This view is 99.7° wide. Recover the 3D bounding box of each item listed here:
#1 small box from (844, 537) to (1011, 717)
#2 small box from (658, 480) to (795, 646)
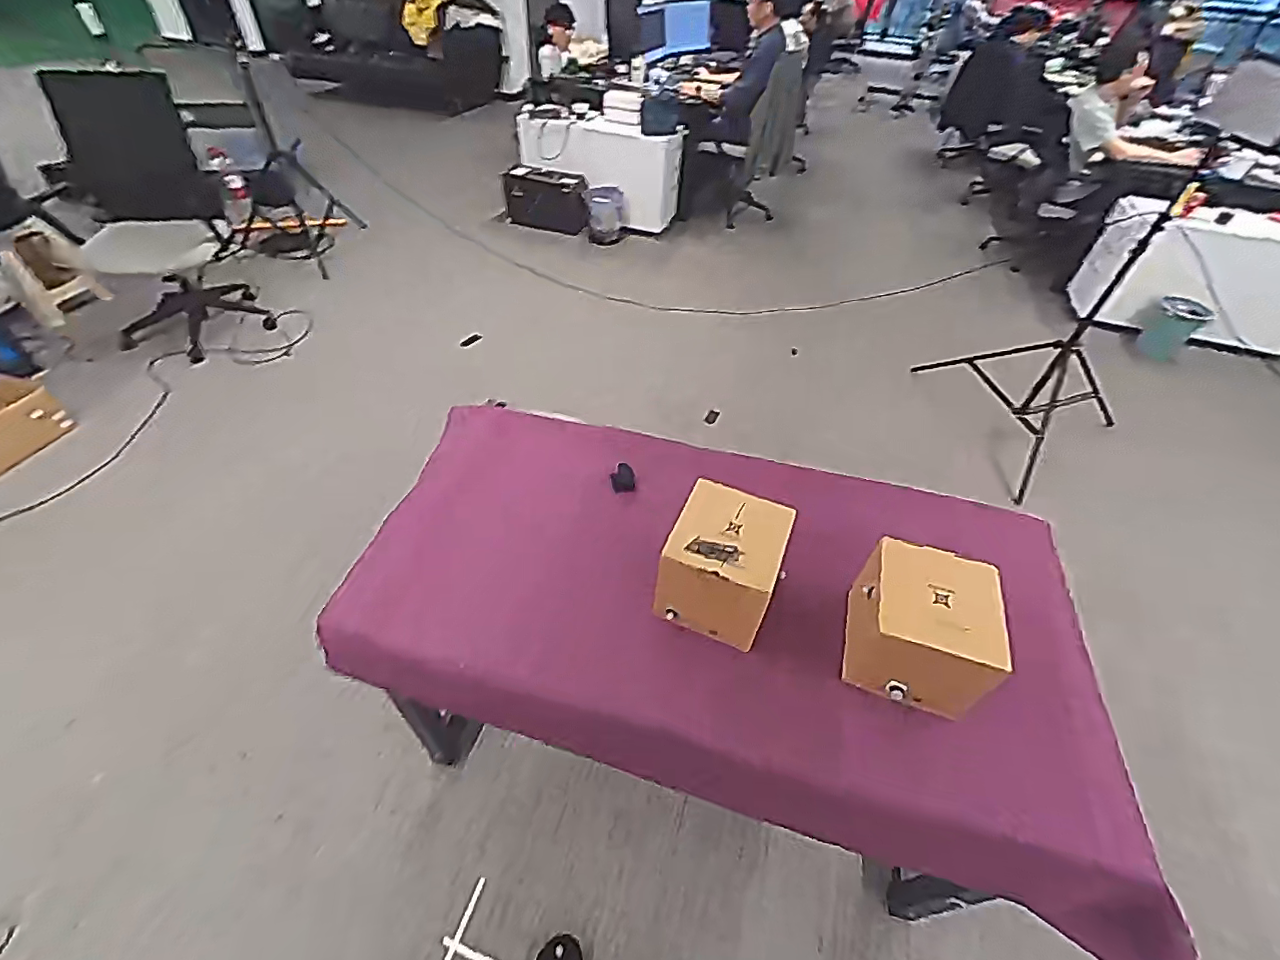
[{"bbox_3d":[0.418,0.221,0.815,0.168,0.176,0.179,15,47,12],"label":"small box"},{"bbox_3d":[0.134,0.136,0.874,0.168,0.176,0.179,19,46,14],"label":"small box"}]
